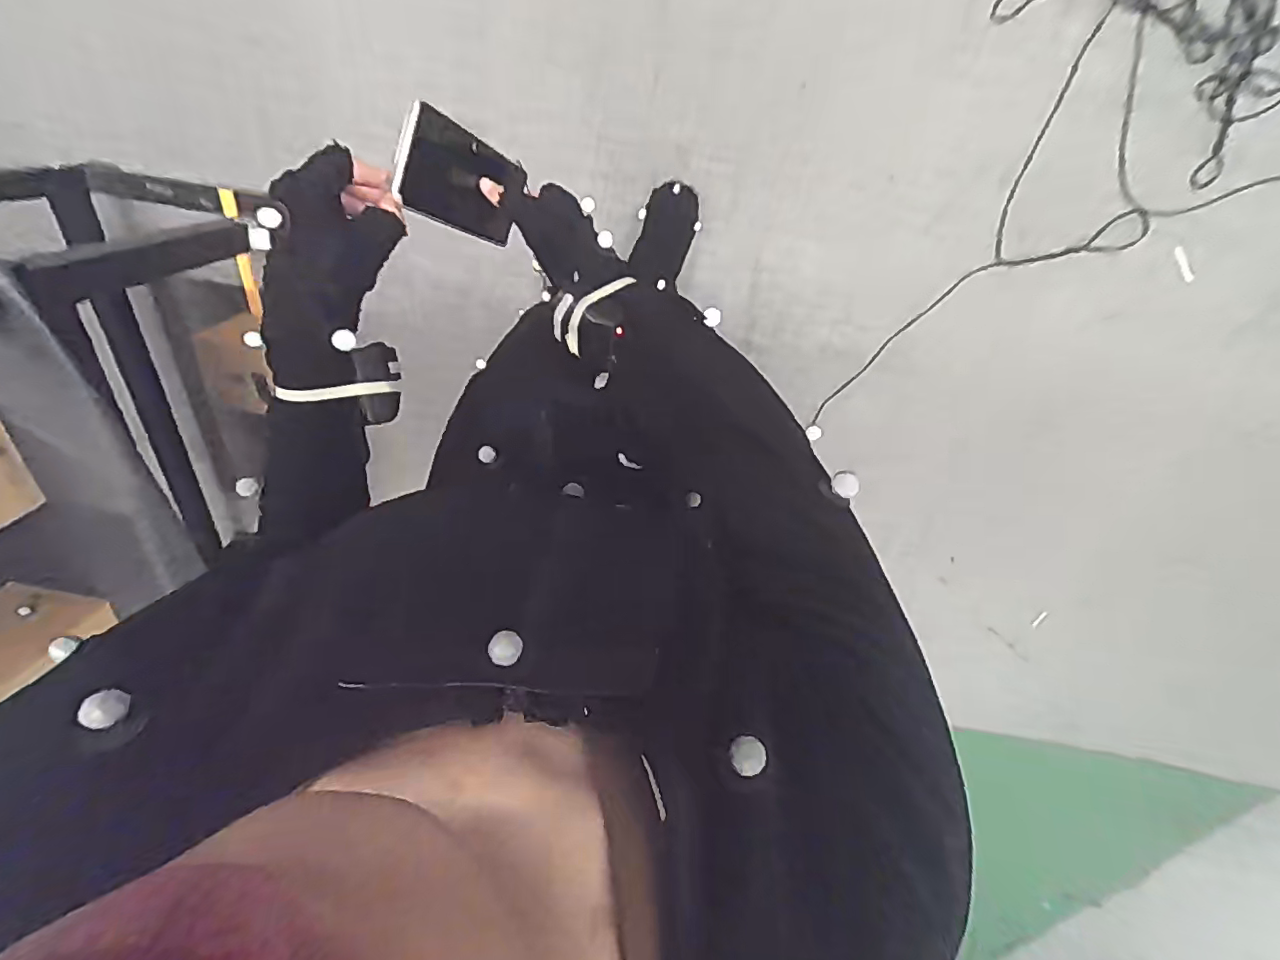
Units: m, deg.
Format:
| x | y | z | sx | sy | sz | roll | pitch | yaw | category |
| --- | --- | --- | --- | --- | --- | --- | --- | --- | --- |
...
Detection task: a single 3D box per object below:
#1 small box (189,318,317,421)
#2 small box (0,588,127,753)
| x | y | z | sx | sy | sz | roll | pitch | yaw | category |
| --- | --- | --- | --- | --- | --- | --- | --- | --- | --- |
| -0.875 | -0.260 | 1.248 | 0.179 | 0.176 | 0.168 | 12 | 123 | -3 | small box |
| -1.007 | 0.308 | 0.883 | 0.168 | 0.176 | 0.179 | 12 | 123 | -3 | small box |
